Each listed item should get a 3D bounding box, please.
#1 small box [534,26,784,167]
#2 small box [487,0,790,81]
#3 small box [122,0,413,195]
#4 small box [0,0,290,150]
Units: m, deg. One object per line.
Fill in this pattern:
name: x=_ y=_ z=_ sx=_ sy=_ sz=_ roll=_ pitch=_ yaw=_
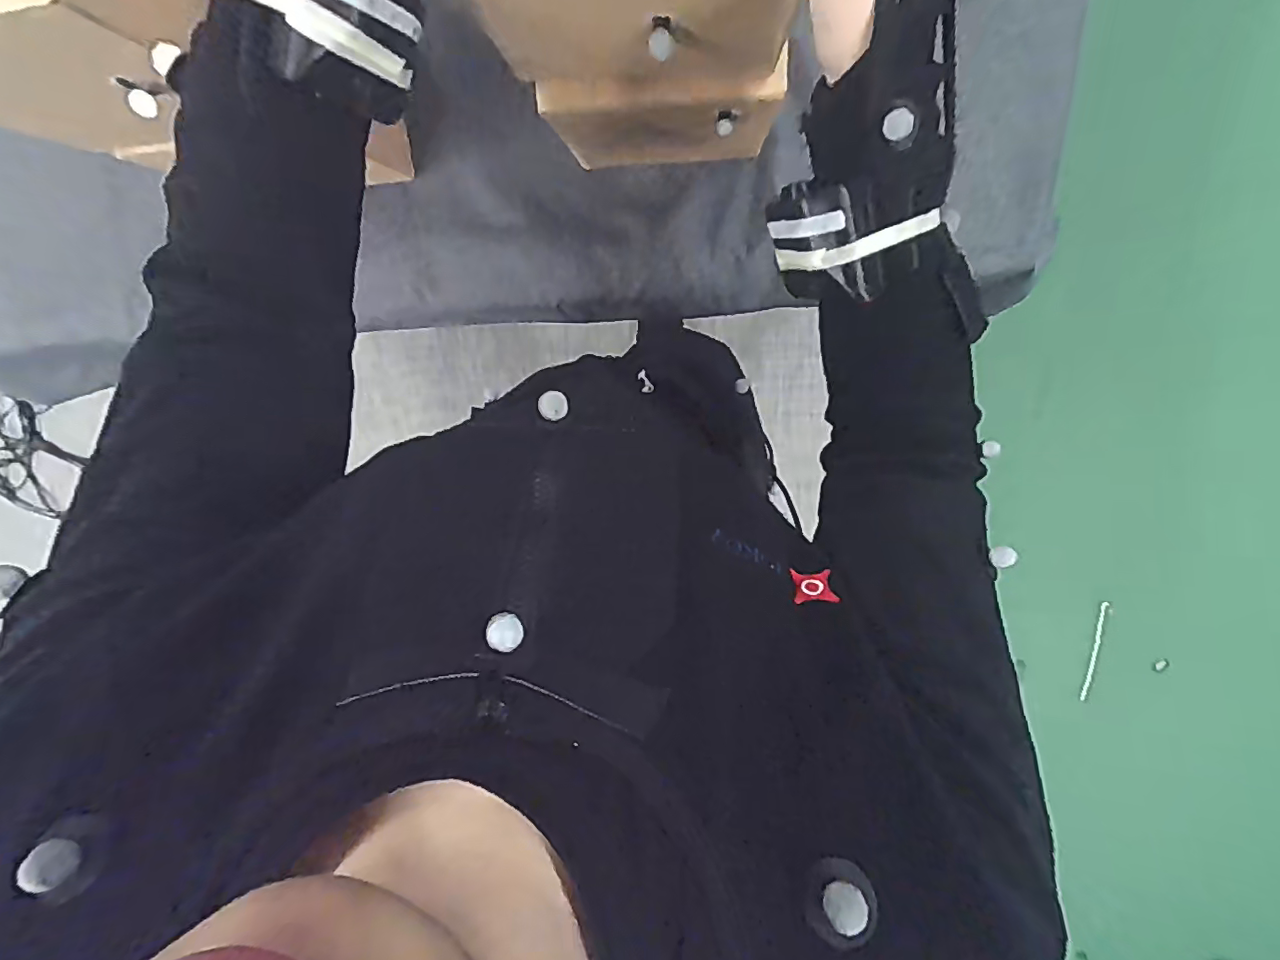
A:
small box: x=0.015 y=-0.367 z=0.435 sx=0.179 sy=0.176 sz=0.168 roll=-1 pitch=107 yaw=4
small box: x=-0.001 y=-0.330 z=0.272 sx=0.179 sy=0.176 sz=0.168 roll=2 pitch=108 yaw=3
small box: x=-0.321 y=-0.361 z=0.460 sx=0.168 sy=0.176 sz=0.179 roll=-3 pitch=108 yaw=6
small box: x=-0.339 y=-0.310 z=0.307 sx=0.179 sy=0.176 sz=0.168 roll=-4 pitch=106 yaw=6
